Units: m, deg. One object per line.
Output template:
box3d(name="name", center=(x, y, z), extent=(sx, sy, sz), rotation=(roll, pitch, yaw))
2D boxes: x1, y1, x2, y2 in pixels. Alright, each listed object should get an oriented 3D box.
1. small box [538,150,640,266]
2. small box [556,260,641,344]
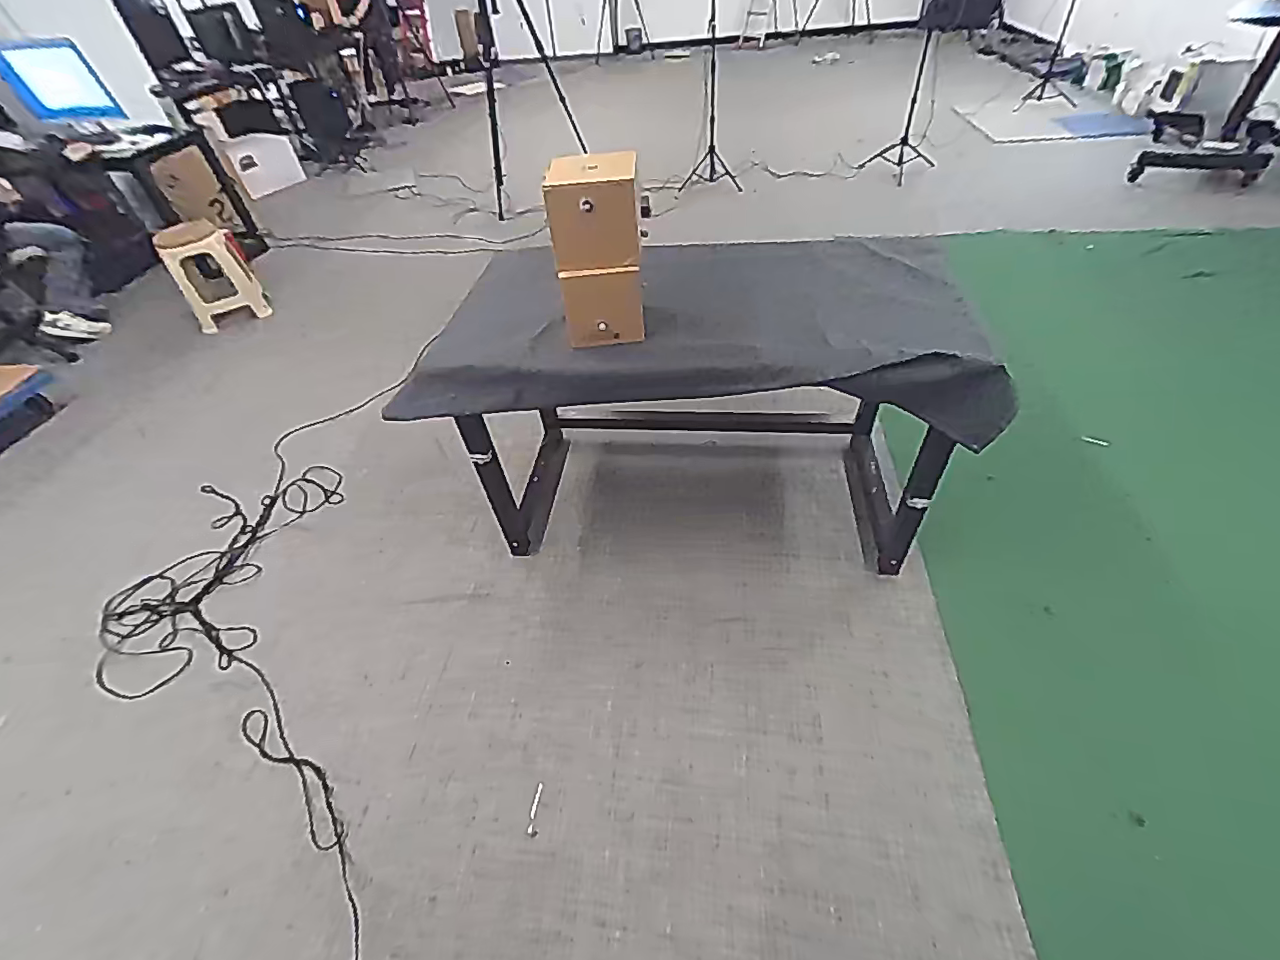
box3d(name="small box", center=(-0.095, -0.548, 1.099), extent=(0.179, 0.176, 0.168), rotation=(-2, 47, 3))
box3d(name="small box", center=(-0.087, -0.424, 1.205), extent=(0.168, 0.176, 0.179), rotation=(-6, 46, 1))
